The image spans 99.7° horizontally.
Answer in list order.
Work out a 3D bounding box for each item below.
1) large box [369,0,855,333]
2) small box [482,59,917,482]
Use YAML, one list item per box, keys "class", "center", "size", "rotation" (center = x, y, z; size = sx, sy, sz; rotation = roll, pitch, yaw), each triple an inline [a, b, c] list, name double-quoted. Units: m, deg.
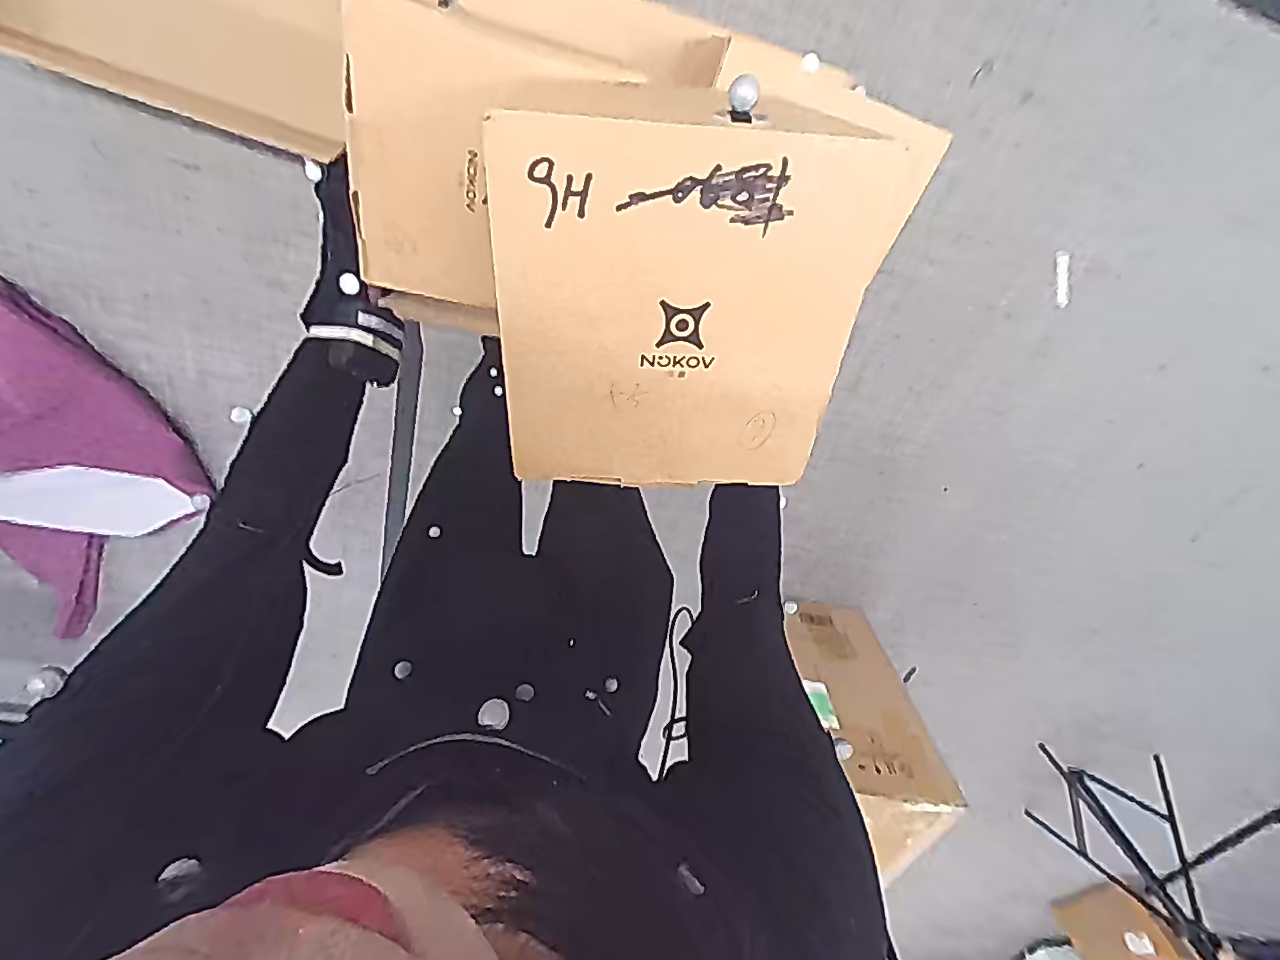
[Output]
- class: "large box"
  center: [-0.056, -0.354, 0.626]
  size: [0.408, 0.320, 0.320]
  rotation: [9, 125, -14]
- class: "small box"
  center: [0.013, -0.119, 0.309]
  size: [0.168, 0.176, 0.179]
  rotation: [1, 130, -7]
